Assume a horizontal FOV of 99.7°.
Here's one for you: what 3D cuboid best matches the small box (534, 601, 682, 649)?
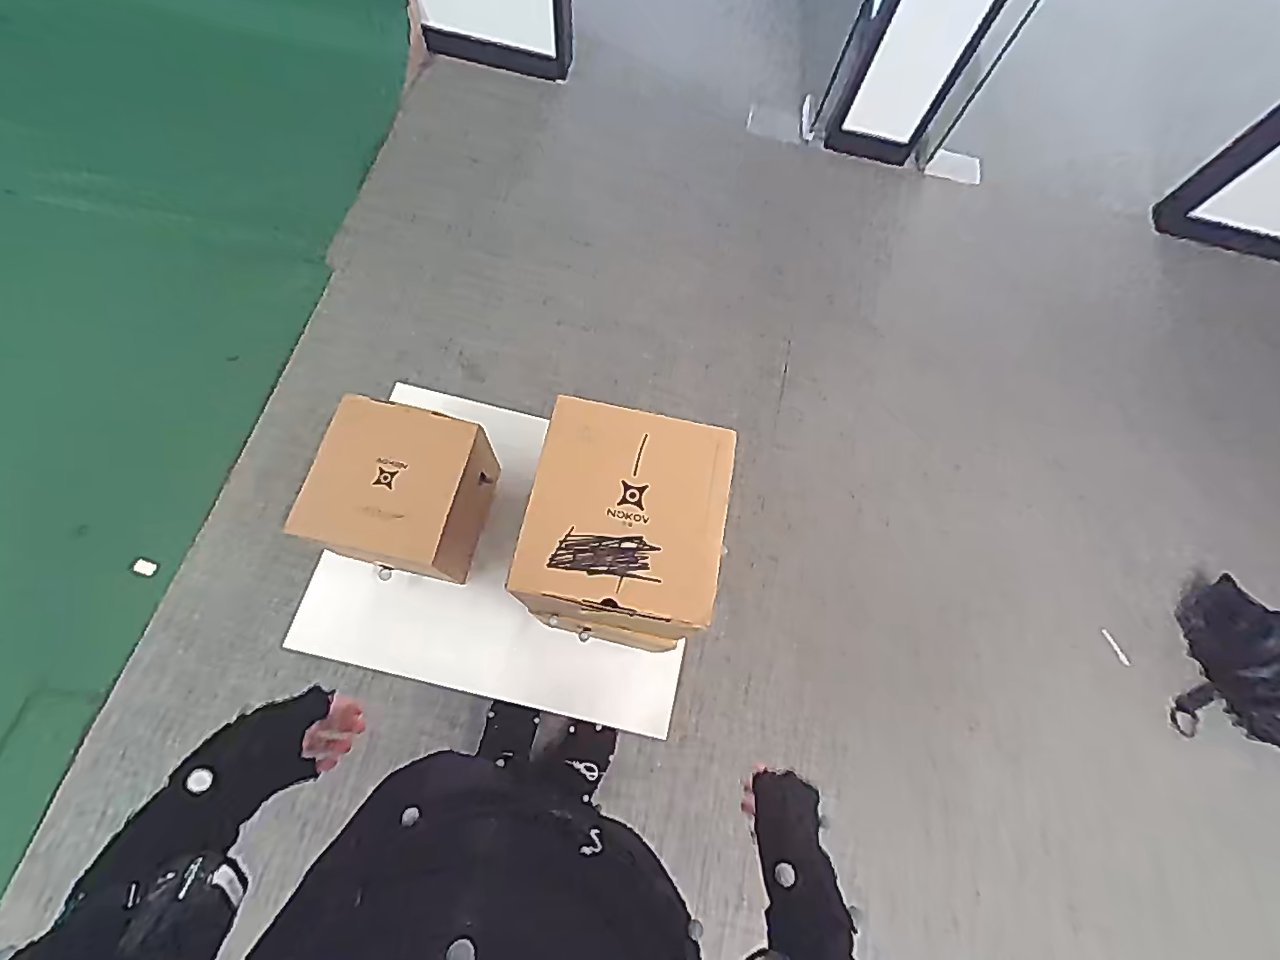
[{"bbox_3d":[-0.024,0.106,0.682,0.168,0.176,0.179,13,71,1],"label":"small box"}]

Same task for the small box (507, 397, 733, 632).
[{"bbox_3d":[-0.016,0.046,0.529,0.168,0.176,0.179,11,70,0],"label":"small box"}]

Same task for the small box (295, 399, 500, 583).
[{"bbox_3d":[-0.288,0.024,0.691,0.168,0.176,0.179,12,73,0],"label":"small box"}]
